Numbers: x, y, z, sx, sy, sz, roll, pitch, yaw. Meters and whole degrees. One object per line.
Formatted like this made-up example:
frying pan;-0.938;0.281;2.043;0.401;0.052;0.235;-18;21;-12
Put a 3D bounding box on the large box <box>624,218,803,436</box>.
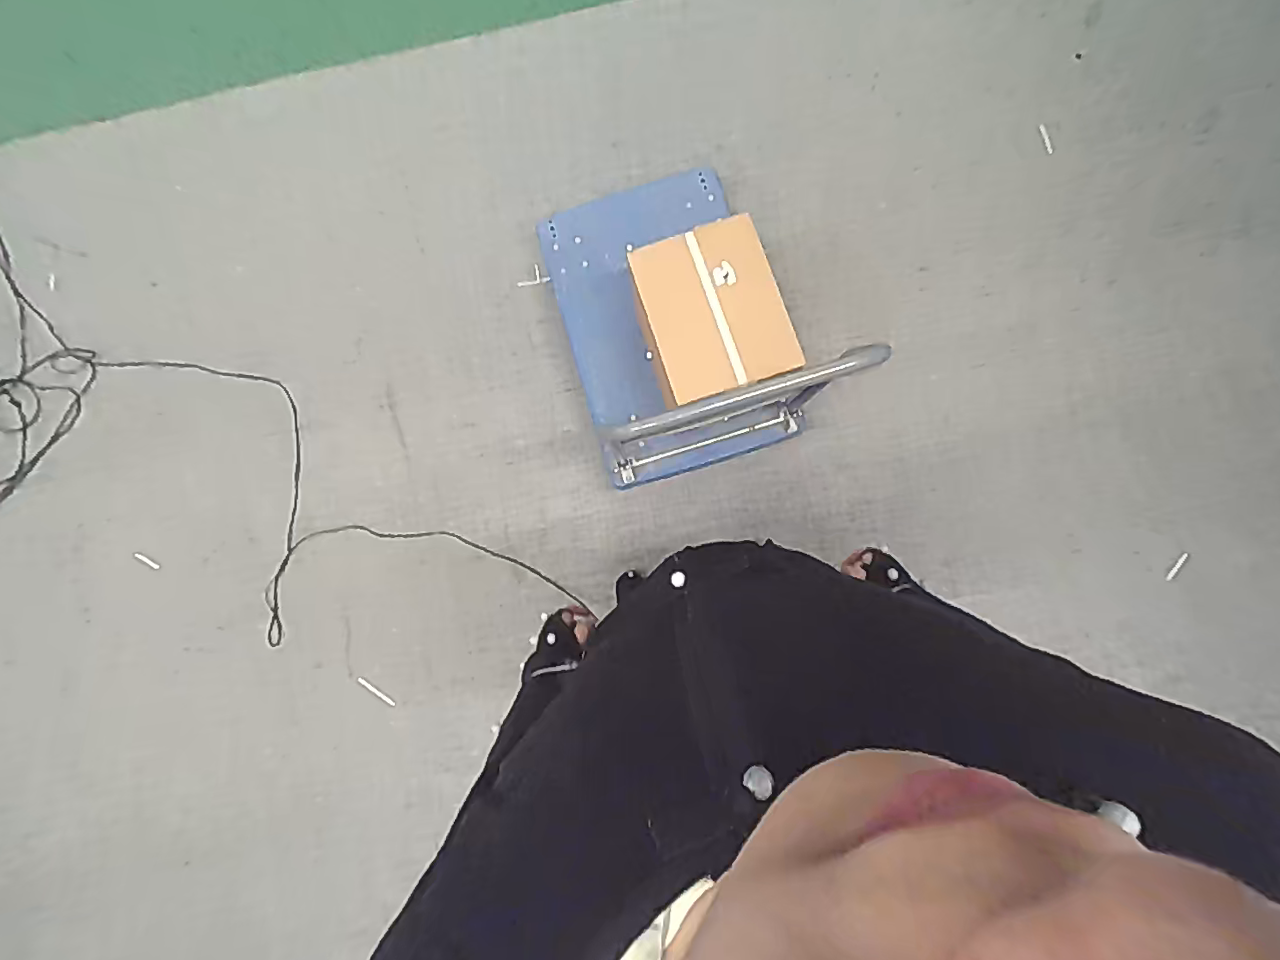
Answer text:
large box;0.177;-0.375;1.409;0.320;0.320;0.408;-18;81;-1
